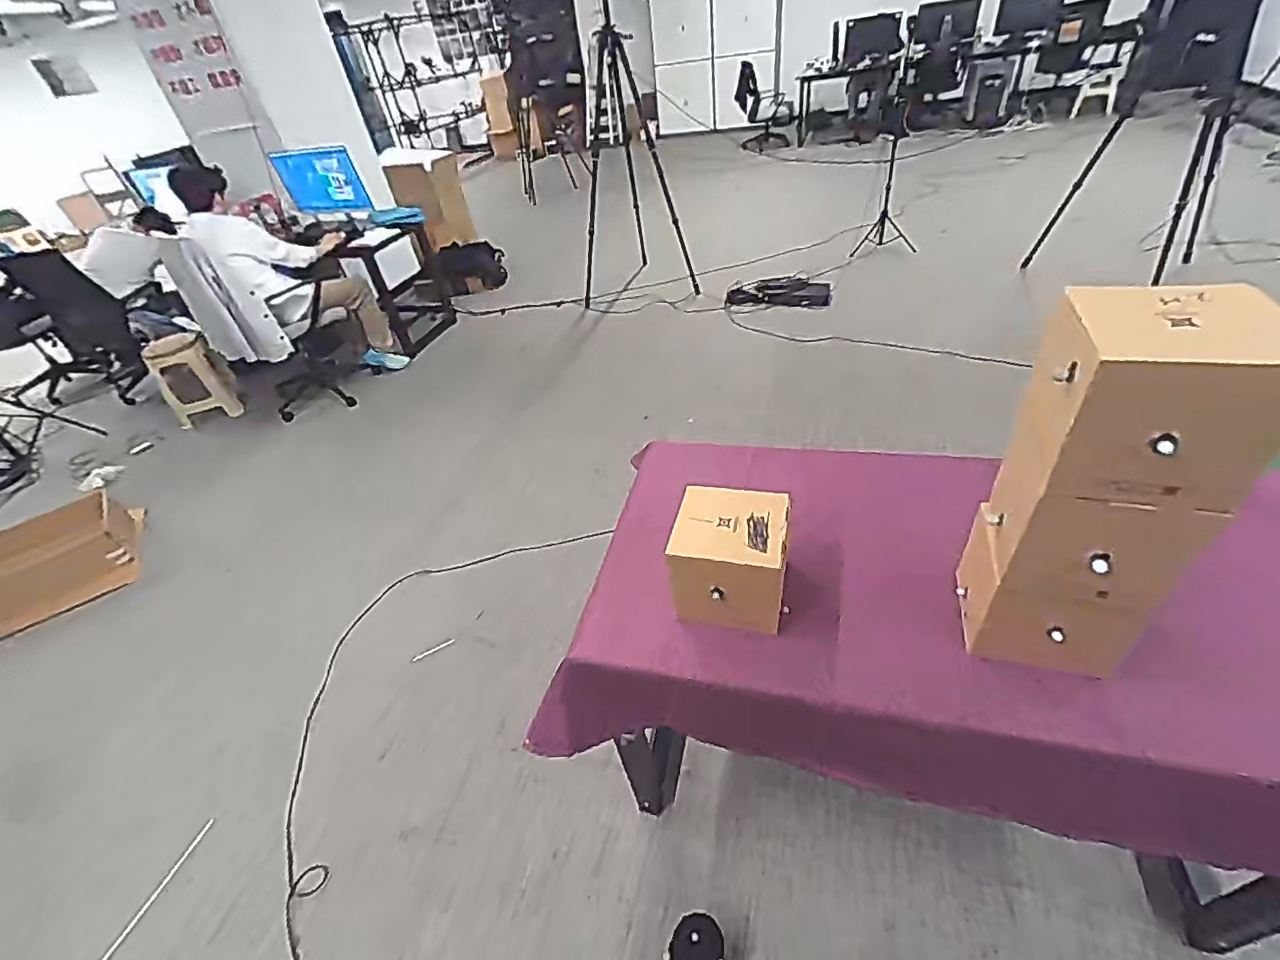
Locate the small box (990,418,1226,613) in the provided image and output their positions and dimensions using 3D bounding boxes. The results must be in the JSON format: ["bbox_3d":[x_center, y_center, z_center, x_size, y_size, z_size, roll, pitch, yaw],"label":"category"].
[{"bbox_3d":[0.561,0.041,0.682,0.168,0.176,0.179,8,43,21],"label":"small box"}]

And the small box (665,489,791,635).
[{"bbox_3d":[0.153,0.138,0.908,0.179,0.176,0.168,5,41,18],"label":"small box"}]

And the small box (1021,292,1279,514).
[{"bbox_3d":[0.536,-0.085,0.577,0.168,0.176,0.179,7,42,20],"label":"small box"}]
